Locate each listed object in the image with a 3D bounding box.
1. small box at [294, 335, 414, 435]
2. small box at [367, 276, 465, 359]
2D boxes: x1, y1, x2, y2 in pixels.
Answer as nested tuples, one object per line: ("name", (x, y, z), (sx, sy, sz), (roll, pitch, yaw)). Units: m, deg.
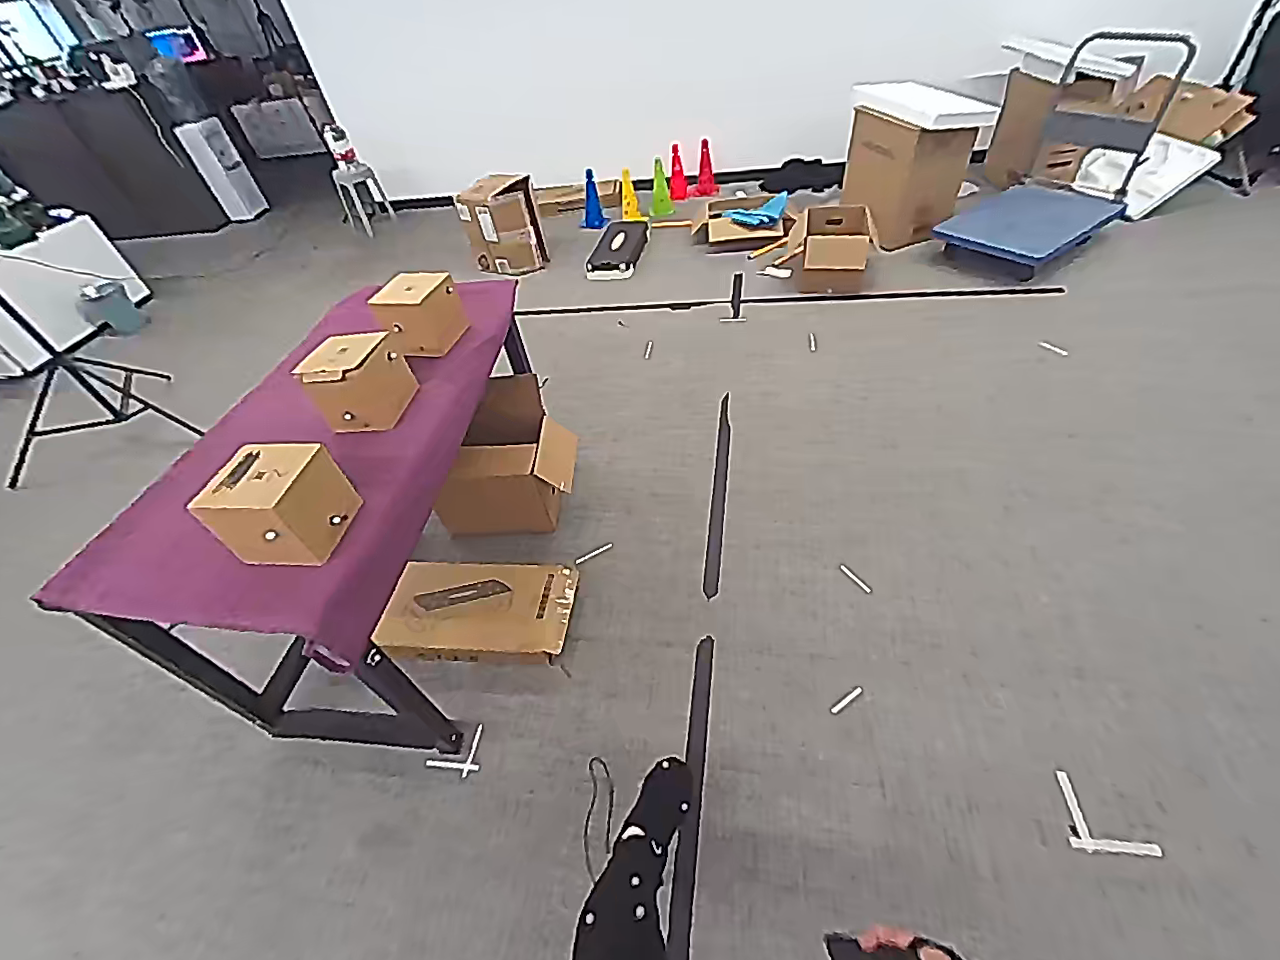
("small box", (-0.678, -0.228, 1.311), (0.168, 0.176, 0.179), (-2, 45, 11))
("small box", (-0.620, -0.455, 1.527), (0.168, 0.176, 0.179), (5, 46, 14))
